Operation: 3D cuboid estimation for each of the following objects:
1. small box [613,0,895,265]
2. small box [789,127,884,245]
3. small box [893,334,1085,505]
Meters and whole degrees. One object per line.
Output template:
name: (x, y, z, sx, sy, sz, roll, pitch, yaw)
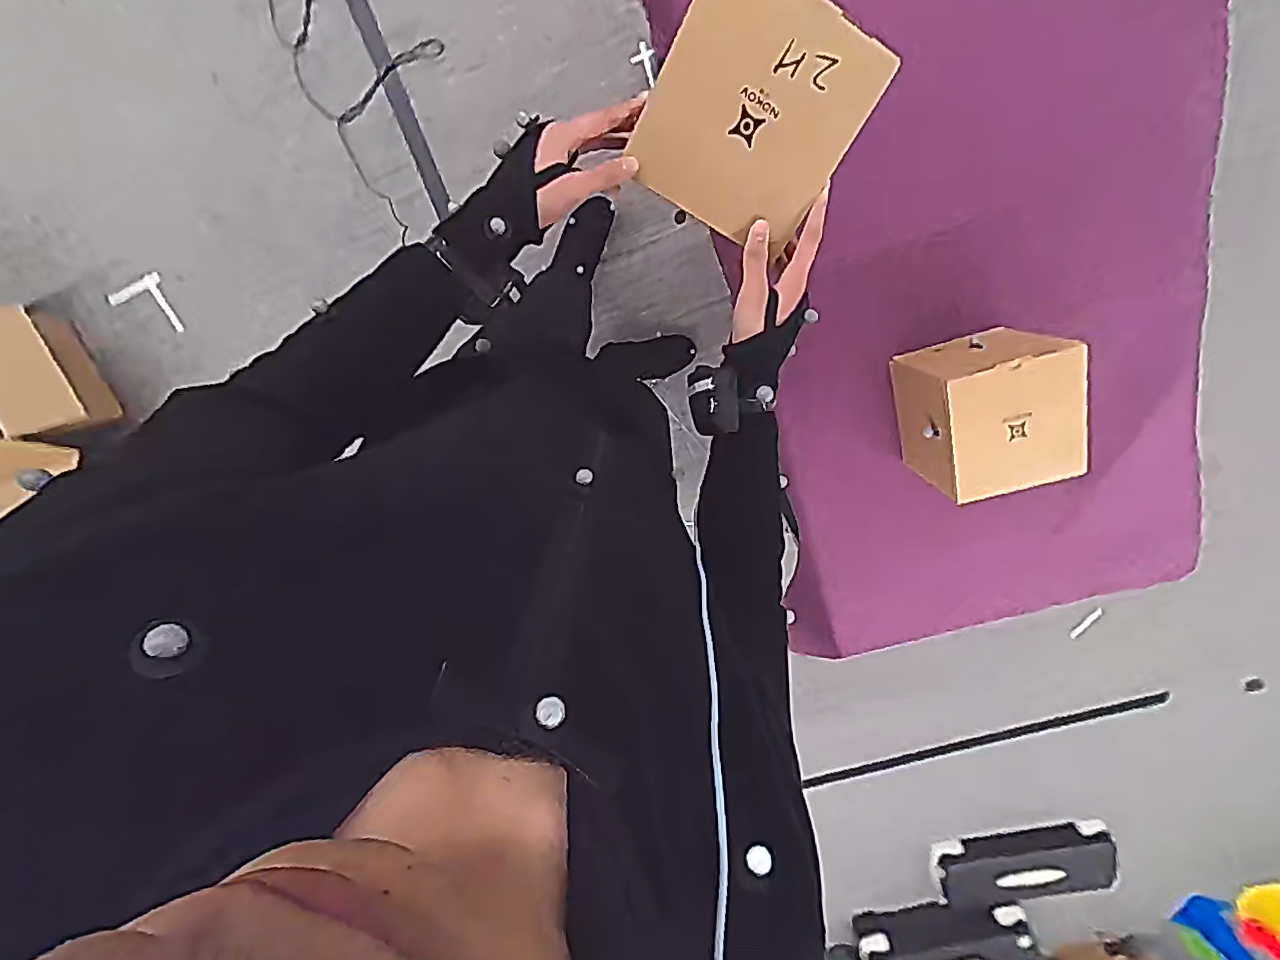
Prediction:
small box: (0.089, -0.334, 0.505, 0.168, 0.176, 0.179, 25, 118, -14)
small box: (0.412, -0.640, 1.202, 0.168, 0.176, 0.179, -20, 112, 8)
small box: (0.476, -0.091, 0.757, 0.168, 0.176, 0.179, -15, 110, 7)
